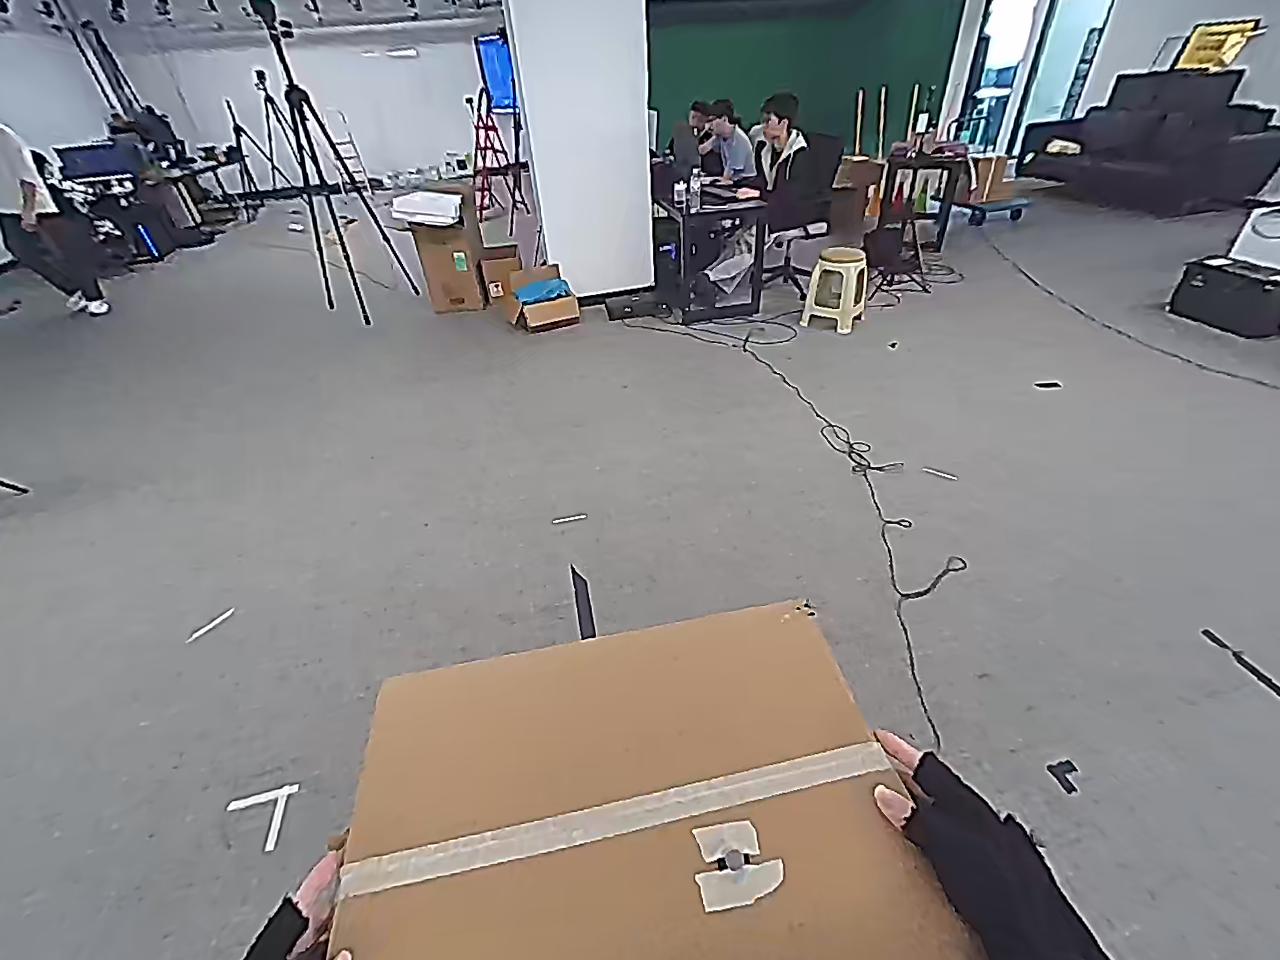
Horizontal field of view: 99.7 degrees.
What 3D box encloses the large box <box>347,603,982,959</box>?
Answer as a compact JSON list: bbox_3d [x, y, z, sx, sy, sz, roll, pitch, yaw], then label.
[{"bbox_3d":[-0.001,0.365,0.507,0.408,0.320,0.320,-9,41,-7],"label":"large box"}]
